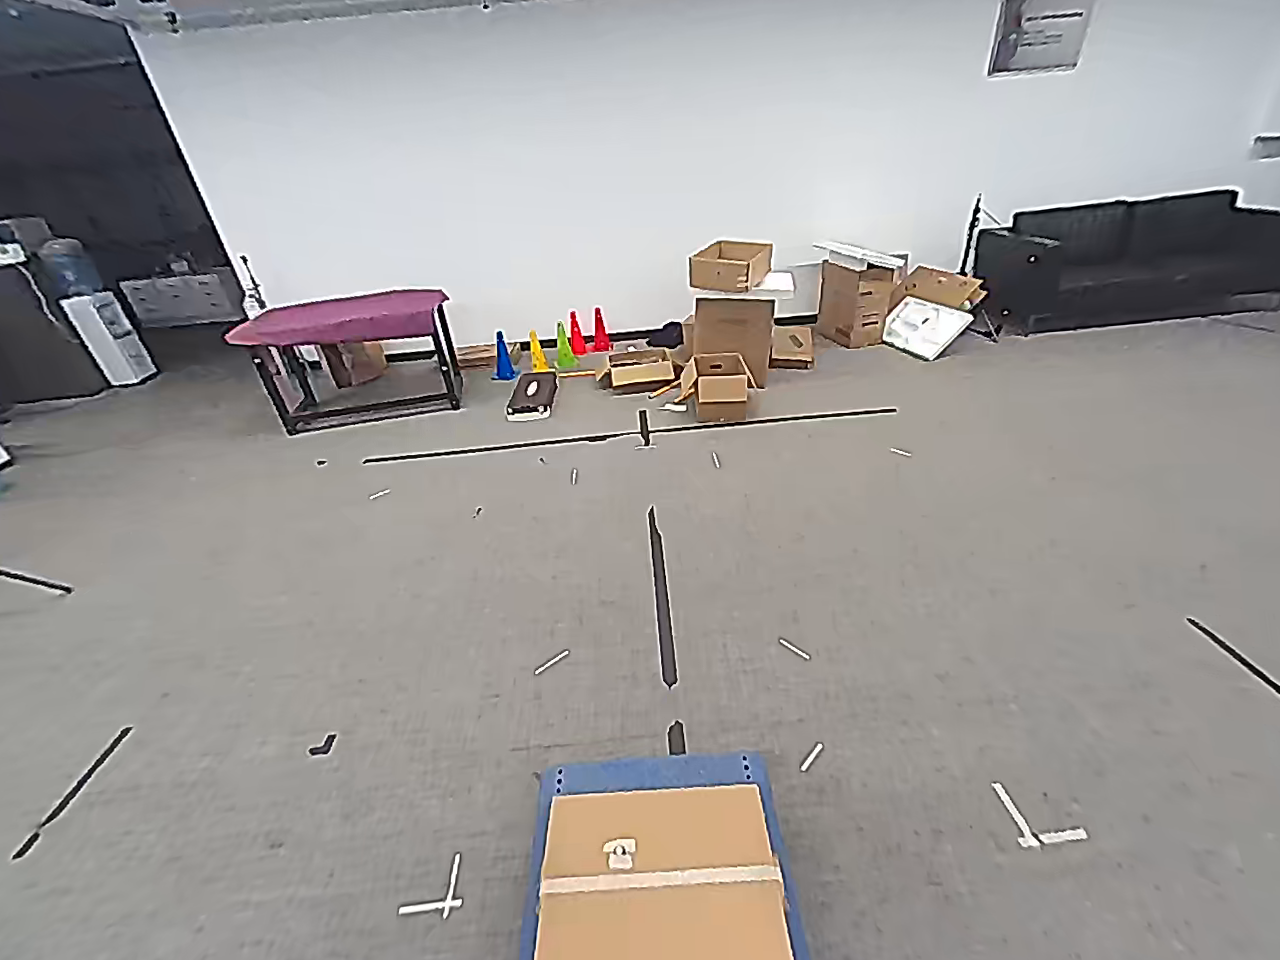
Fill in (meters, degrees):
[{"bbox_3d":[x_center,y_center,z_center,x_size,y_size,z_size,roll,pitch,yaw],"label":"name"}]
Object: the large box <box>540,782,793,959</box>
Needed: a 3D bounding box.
[{"bbox_3d":[0.050,0.821,1.019,0.408,0.320,0.320,-6,31,2],"label":"large box"}]
